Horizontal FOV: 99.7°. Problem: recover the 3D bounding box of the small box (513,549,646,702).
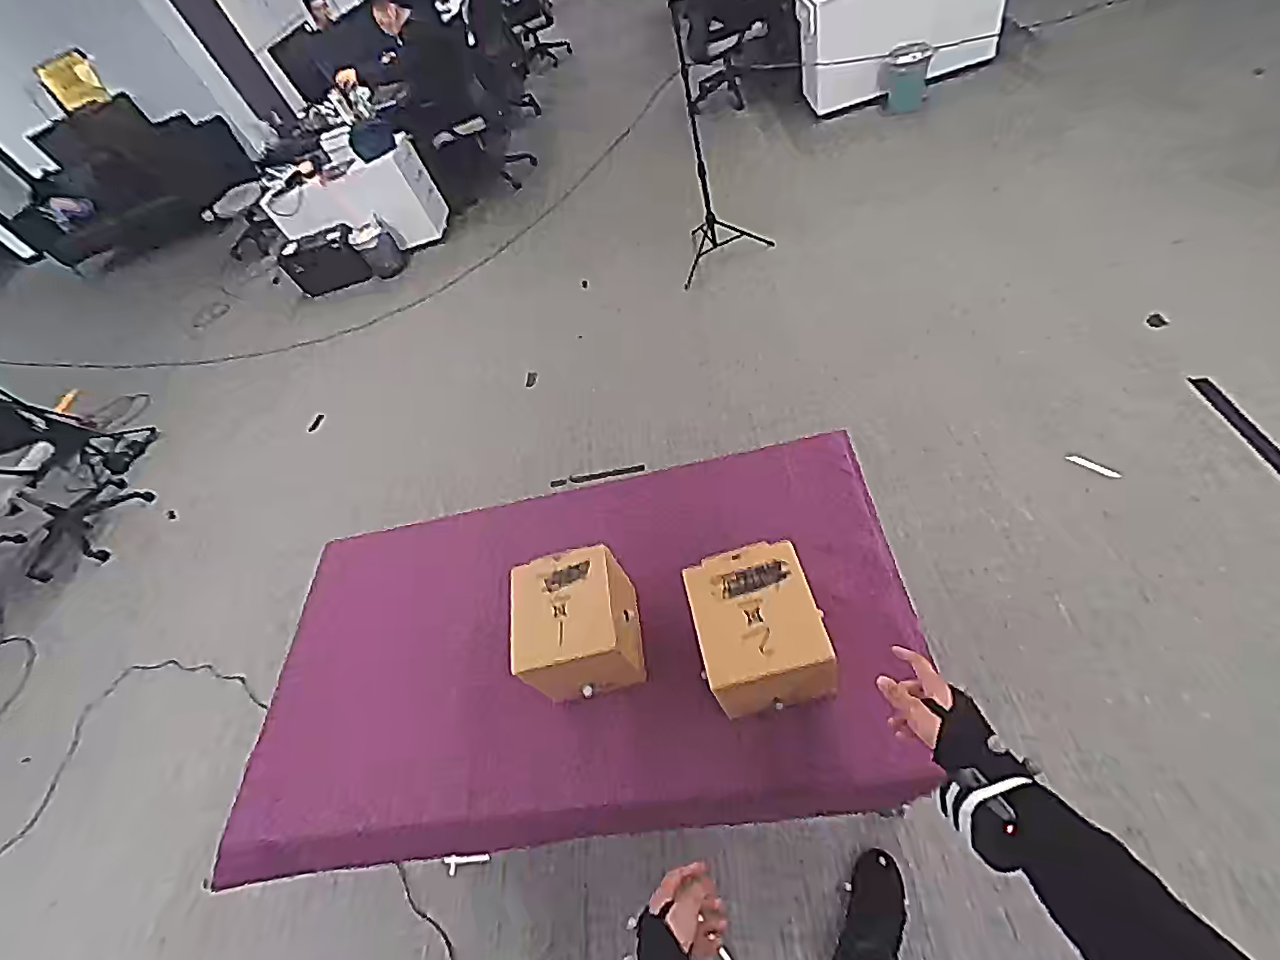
[{"bbox_3d":[-0.097,0.244,0.896,0.168,0.176,0.179,-16,52,8],"label":"small box"}]
